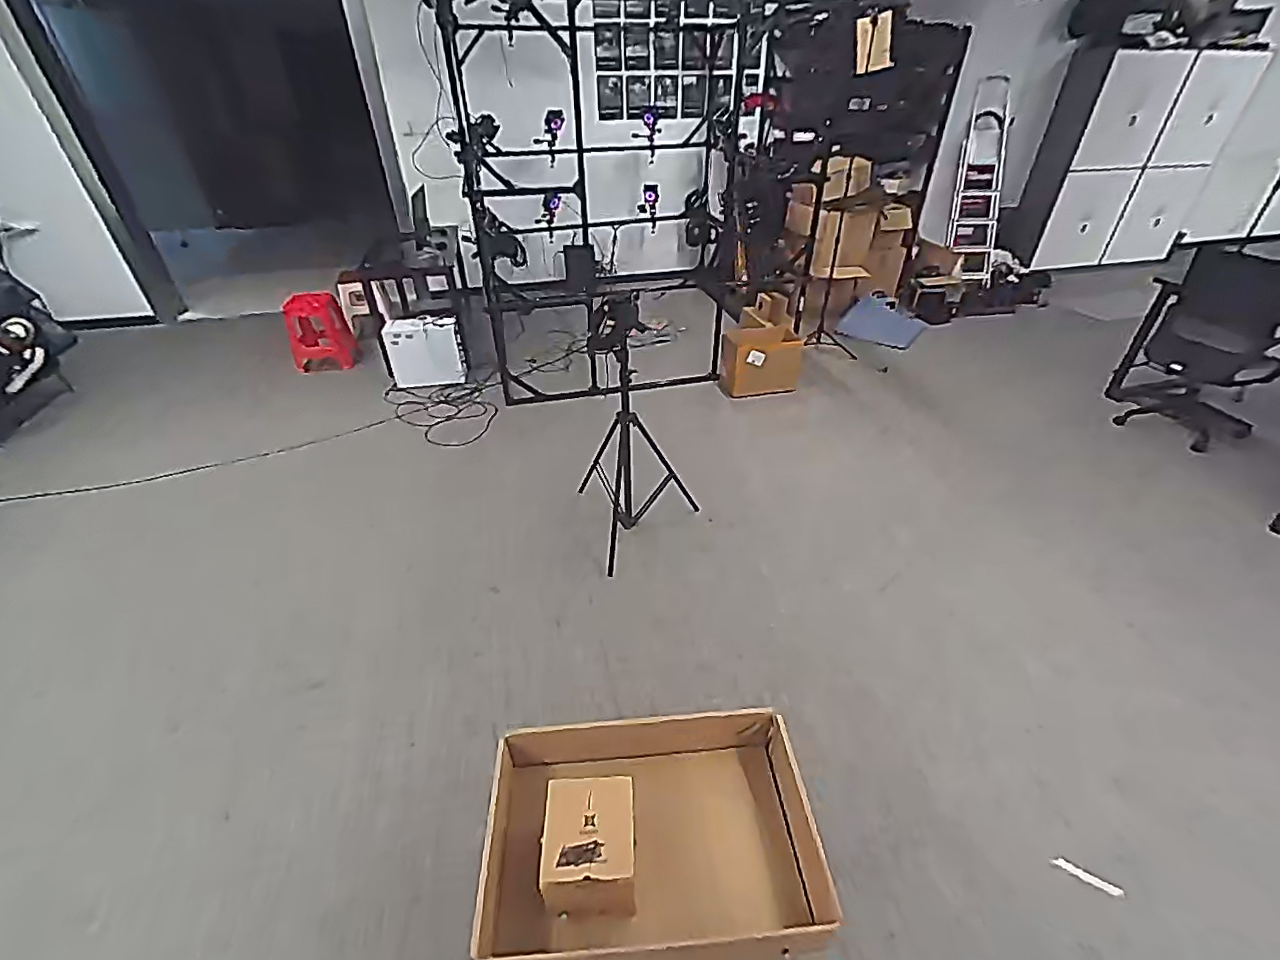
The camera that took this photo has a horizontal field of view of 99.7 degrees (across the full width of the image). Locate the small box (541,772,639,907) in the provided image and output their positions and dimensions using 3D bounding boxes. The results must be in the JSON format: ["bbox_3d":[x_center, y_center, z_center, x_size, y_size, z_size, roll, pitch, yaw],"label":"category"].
[{"bbox_3d":[-0.087,0.692,1.038,0.168,0.176,0.179,-1,35,-1],"label":"small box"}]
